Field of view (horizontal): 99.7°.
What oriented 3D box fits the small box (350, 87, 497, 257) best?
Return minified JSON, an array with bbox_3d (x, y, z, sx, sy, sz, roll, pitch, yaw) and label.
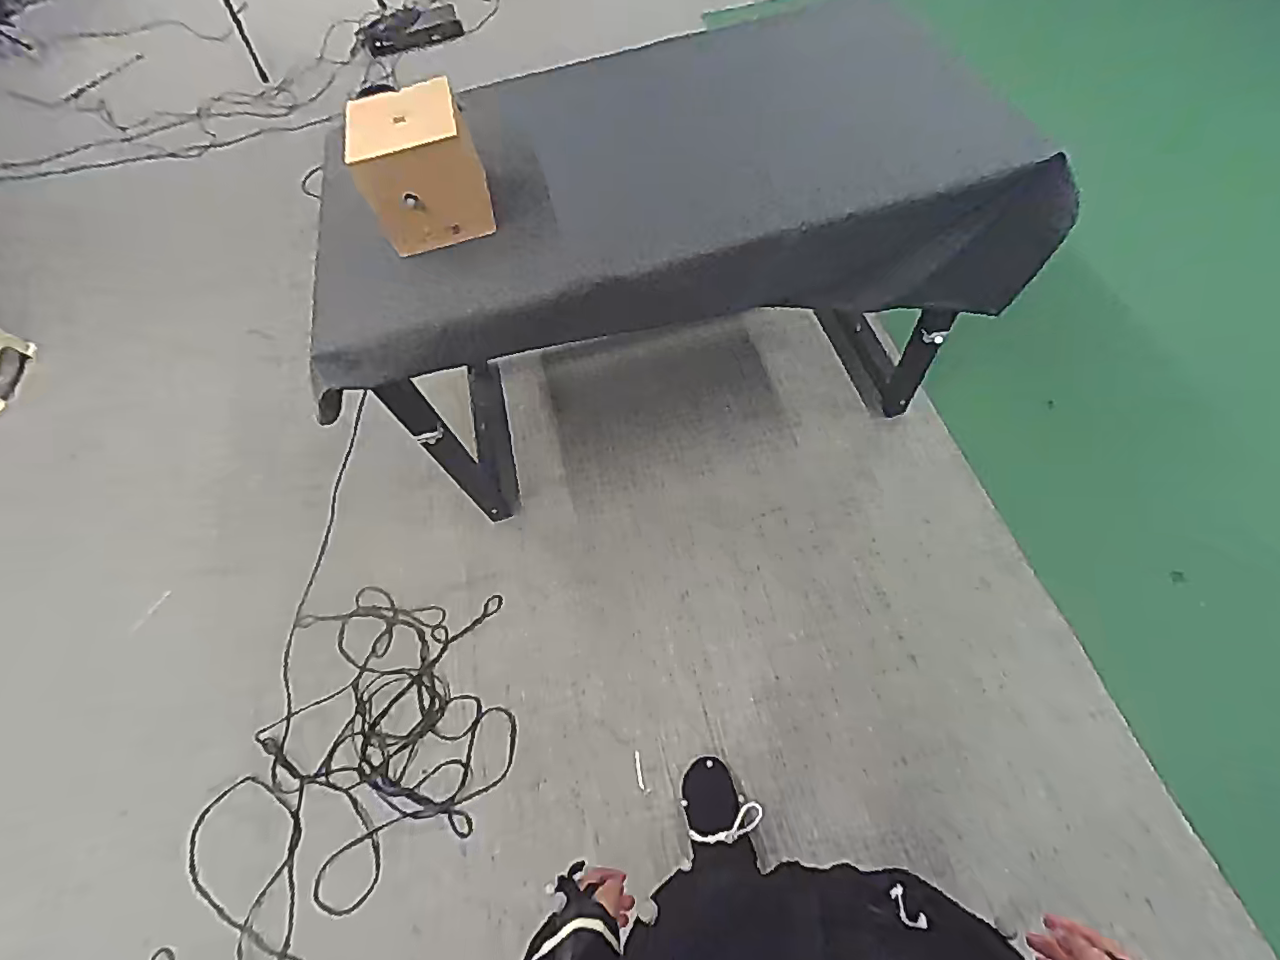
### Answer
[{"bbox_3d":[-0.345,-0.491,0.883,0.168,0.176,0.179,-16,60,-2],"label":"small box"}]
